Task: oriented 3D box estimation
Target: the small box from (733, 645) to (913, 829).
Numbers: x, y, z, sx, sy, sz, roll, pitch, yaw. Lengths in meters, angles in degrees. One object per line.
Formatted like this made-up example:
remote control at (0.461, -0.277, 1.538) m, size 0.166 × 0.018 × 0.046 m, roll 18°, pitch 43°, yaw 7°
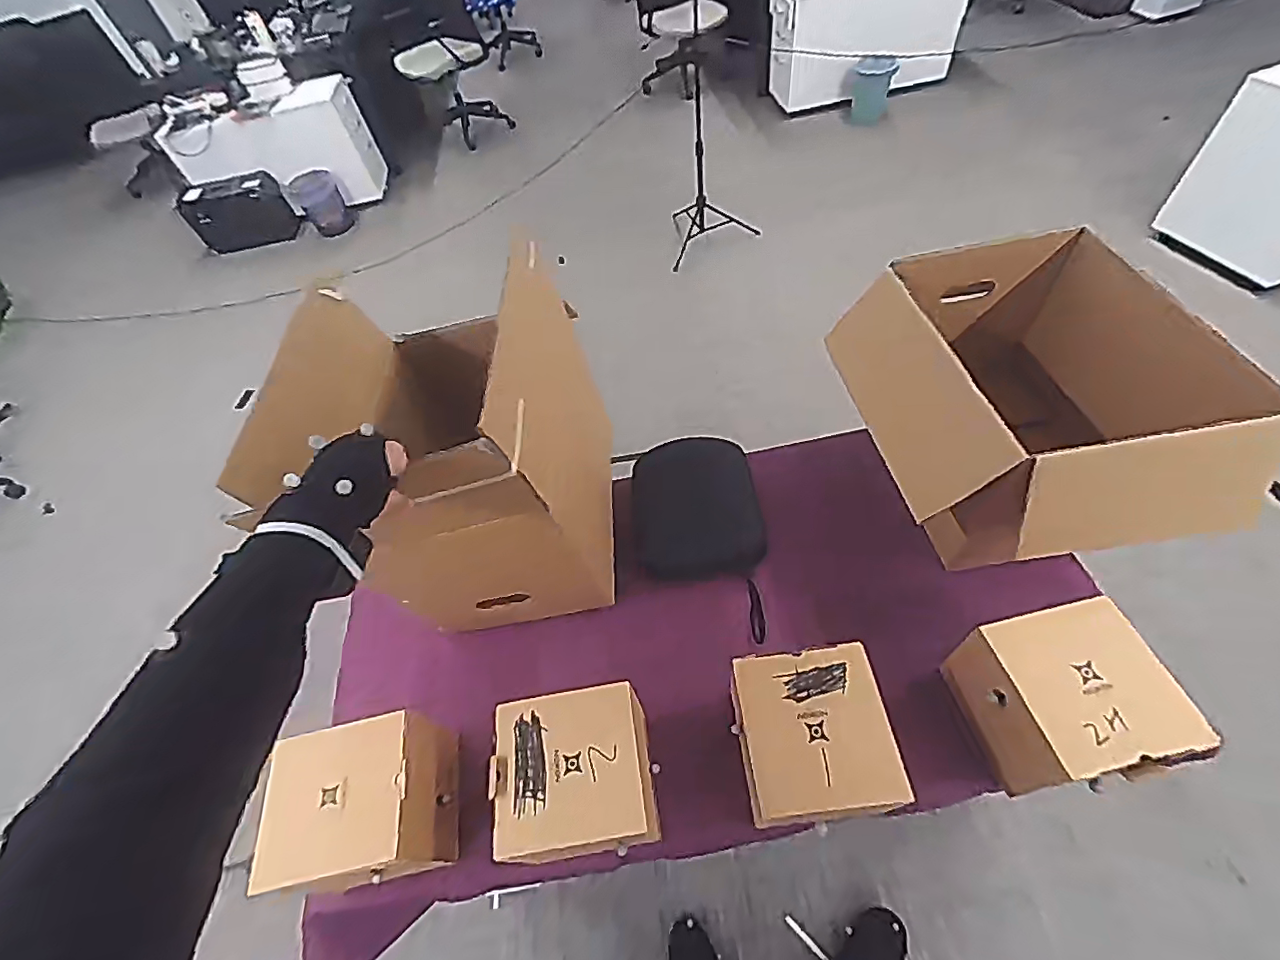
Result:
small box at (0.214, 0.332, 0.692) m, size 0.168 × 0.176 × 0.179 m, roll -9°, pitch 54°, yaw 3°

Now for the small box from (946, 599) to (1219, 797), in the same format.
small box at (0.523, 0.277, 0.679) m, size 0.168 × 0.176 × 0.179 m, roll -14°, pitch 54°, yaw 1°

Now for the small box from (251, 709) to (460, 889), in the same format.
small box at (-0.358, 0.427, 0.718) m, size 0.179 × 0.176 × 0.168 m, roll -13°, pitch 53°, yaw -2°
